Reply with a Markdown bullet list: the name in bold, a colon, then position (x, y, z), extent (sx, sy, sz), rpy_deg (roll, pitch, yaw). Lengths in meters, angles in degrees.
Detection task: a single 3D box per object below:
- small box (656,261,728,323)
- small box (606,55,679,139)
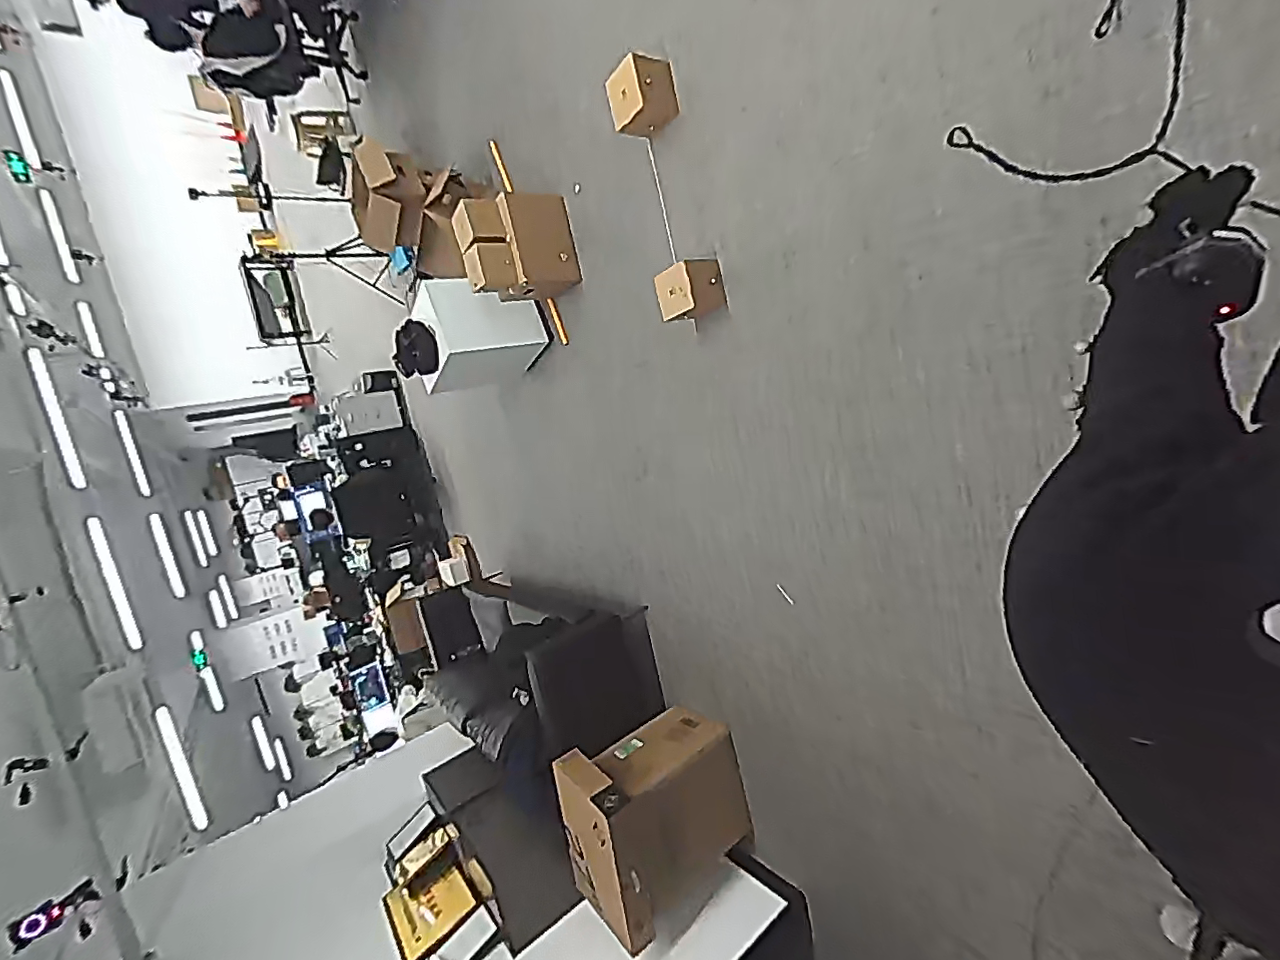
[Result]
- **small box**: position (0.189, -0.681, 1.963), extent (0.179, 0.176, 0.168), rpy_deg (-6, 100, 55)
- **small box**: position (0.010, -1.340, 1.906), extent (0.168, 0.176, 0.179), rpy_deg (-6, 101, 54)
